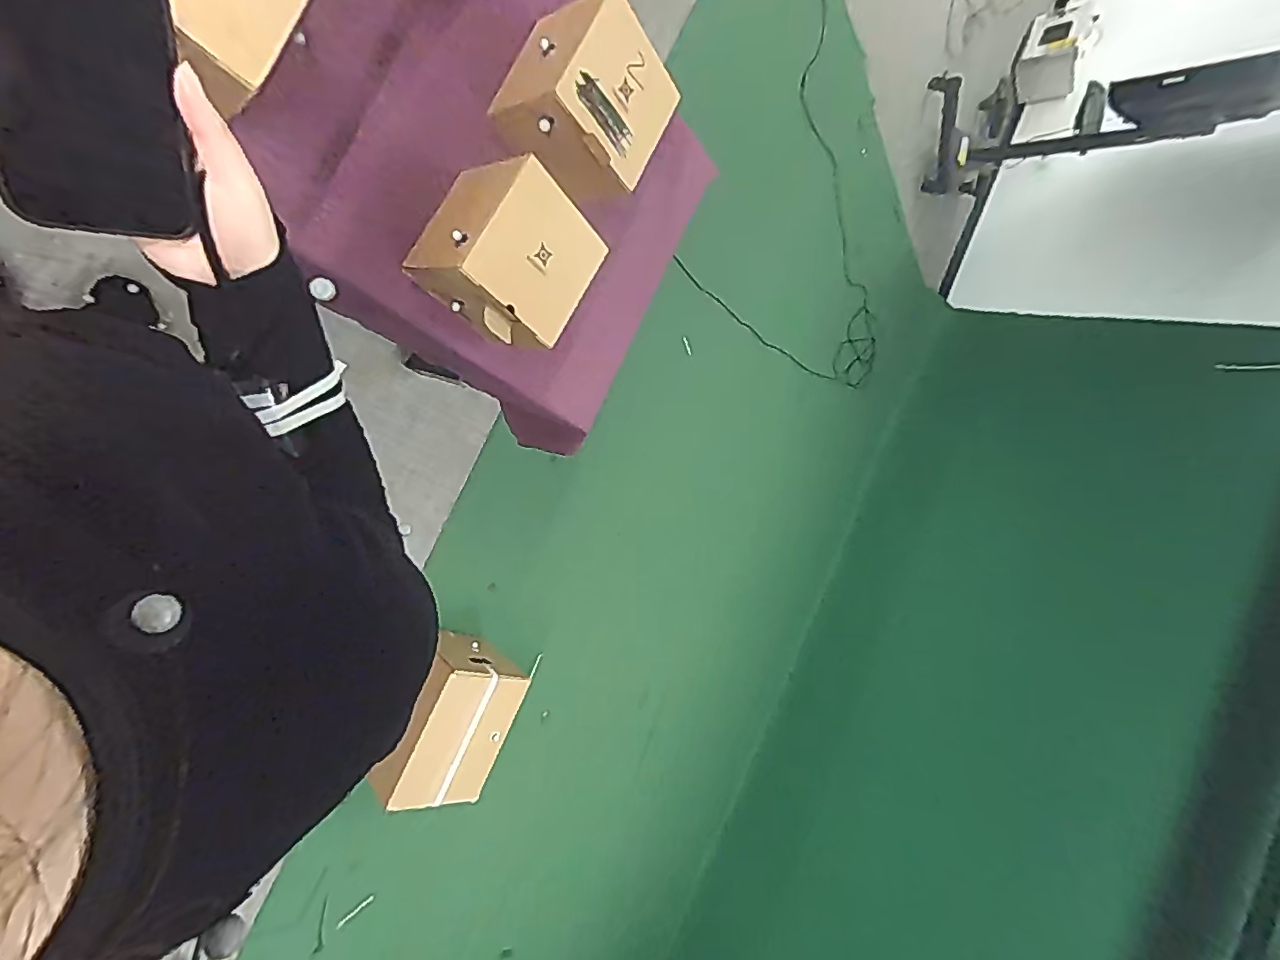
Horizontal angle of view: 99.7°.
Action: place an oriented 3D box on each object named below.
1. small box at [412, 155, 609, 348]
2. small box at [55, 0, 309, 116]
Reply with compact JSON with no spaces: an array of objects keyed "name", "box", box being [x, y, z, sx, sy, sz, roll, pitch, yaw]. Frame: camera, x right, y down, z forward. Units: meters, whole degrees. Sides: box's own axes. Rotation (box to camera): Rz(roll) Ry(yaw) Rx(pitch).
[{"name":"small box","box":[-0.182,-0.311,0.754,0.168,0.176,0.179,37,78,-47]},{"name":"small box","box":[-0.398,-0.458,0.466,0.168,0.176,0.179,30,82,-49]}]
